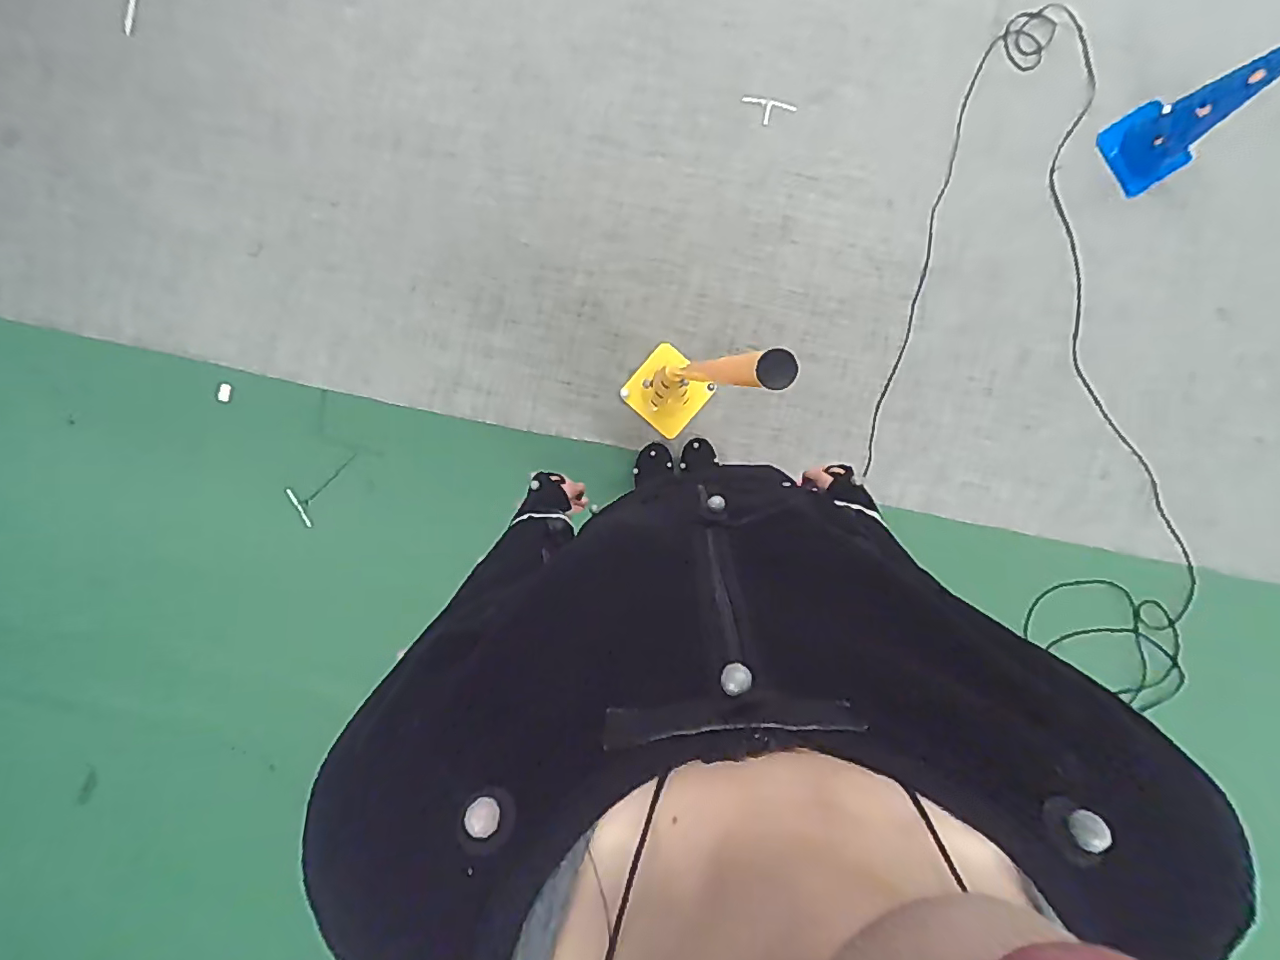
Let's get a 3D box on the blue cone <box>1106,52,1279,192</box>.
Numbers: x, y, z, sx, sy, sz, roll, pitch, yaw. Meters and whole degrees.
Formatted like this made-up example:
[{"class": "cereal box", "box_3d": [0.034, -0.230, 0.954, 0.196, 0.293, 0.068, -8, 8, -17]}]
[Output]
[{"class": "blue cone", "box_3d": [1.359, -0.890, 1.279, 0.193, 0.380, 0.192, -34, 91, -1]}]
